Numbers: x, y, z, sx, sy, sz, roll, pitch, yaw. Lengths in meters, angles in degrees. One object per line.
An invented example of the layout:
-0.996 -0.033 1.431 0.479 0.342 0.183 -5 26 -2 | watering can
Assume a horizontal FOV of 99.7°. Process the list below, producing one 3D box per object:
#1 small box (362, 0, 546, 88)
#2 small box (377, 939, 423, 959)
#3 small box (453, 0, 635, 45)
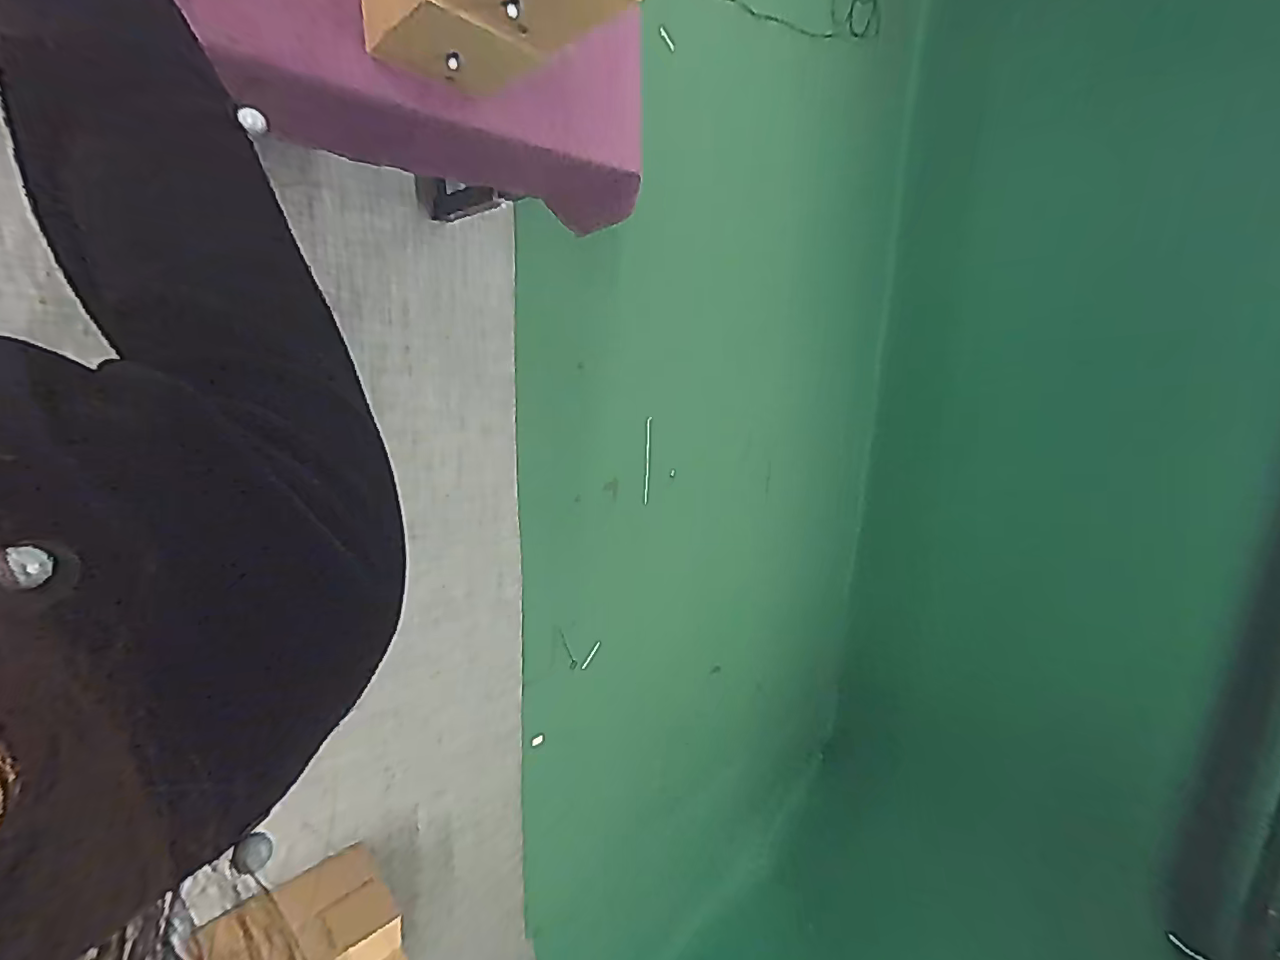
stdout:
-0.234 -0.629 0.671 0.168 0.176 0.179 -14 110 -46 | small box
-0.625 1.344 1.376 0.168 0.176 0.179 -10 109 -47 | small box
-0.111 -0.610 0.564 0.168 0.176 0.179 -14 111 -45 | small box
